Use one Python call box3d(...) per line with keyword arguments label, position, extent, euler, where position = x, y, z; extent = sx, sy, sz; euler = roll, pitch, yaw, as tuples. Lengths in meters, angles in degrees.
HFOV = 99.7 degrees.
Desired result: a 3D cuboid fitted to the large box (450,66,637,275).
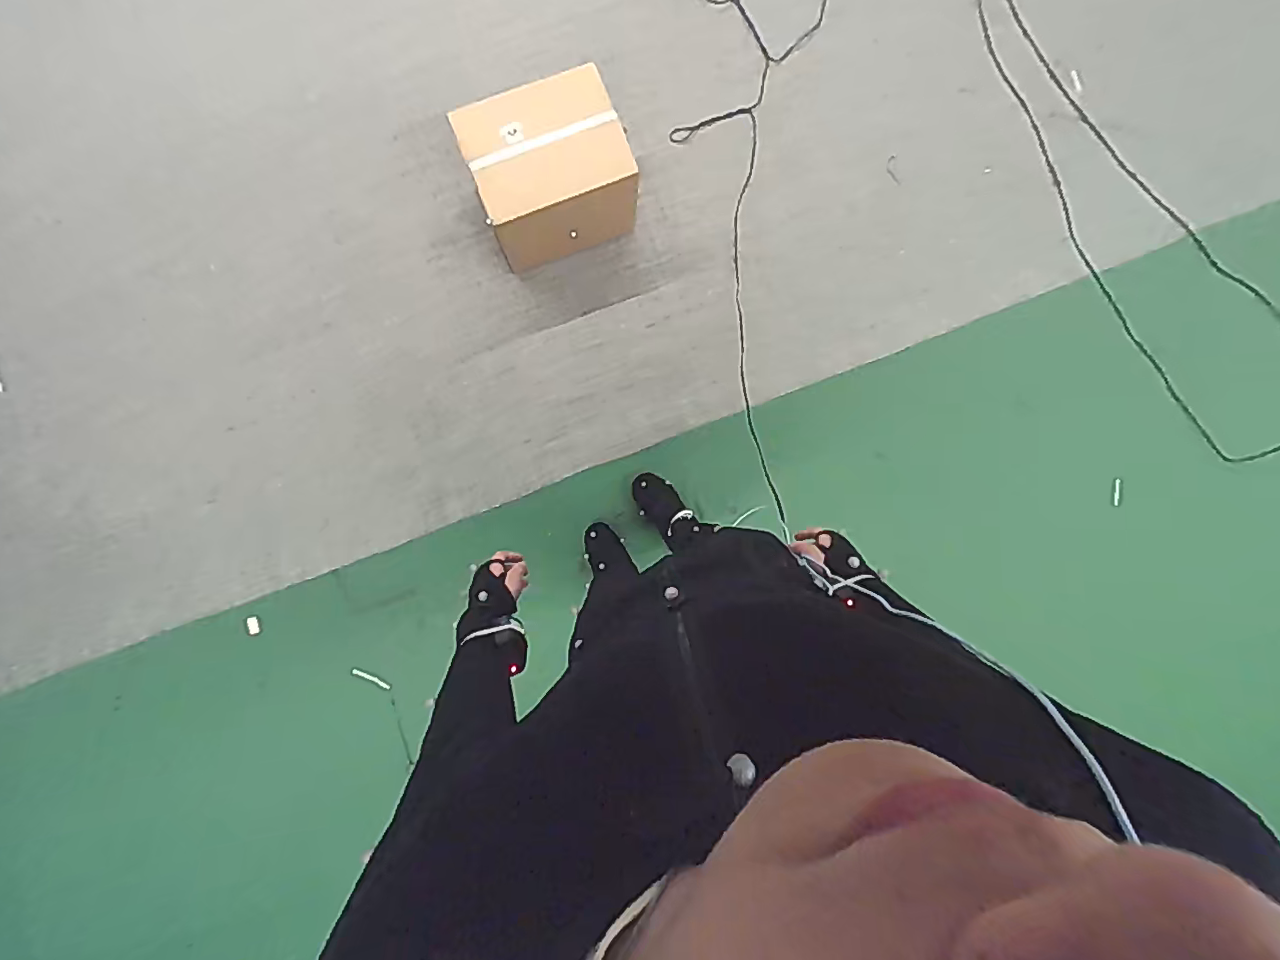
box3d(label="large box", position=(-0.251, -0.849, 1.534), extent=(0.408, 0.320, 0.320), euler=(-23, 89, -2))
